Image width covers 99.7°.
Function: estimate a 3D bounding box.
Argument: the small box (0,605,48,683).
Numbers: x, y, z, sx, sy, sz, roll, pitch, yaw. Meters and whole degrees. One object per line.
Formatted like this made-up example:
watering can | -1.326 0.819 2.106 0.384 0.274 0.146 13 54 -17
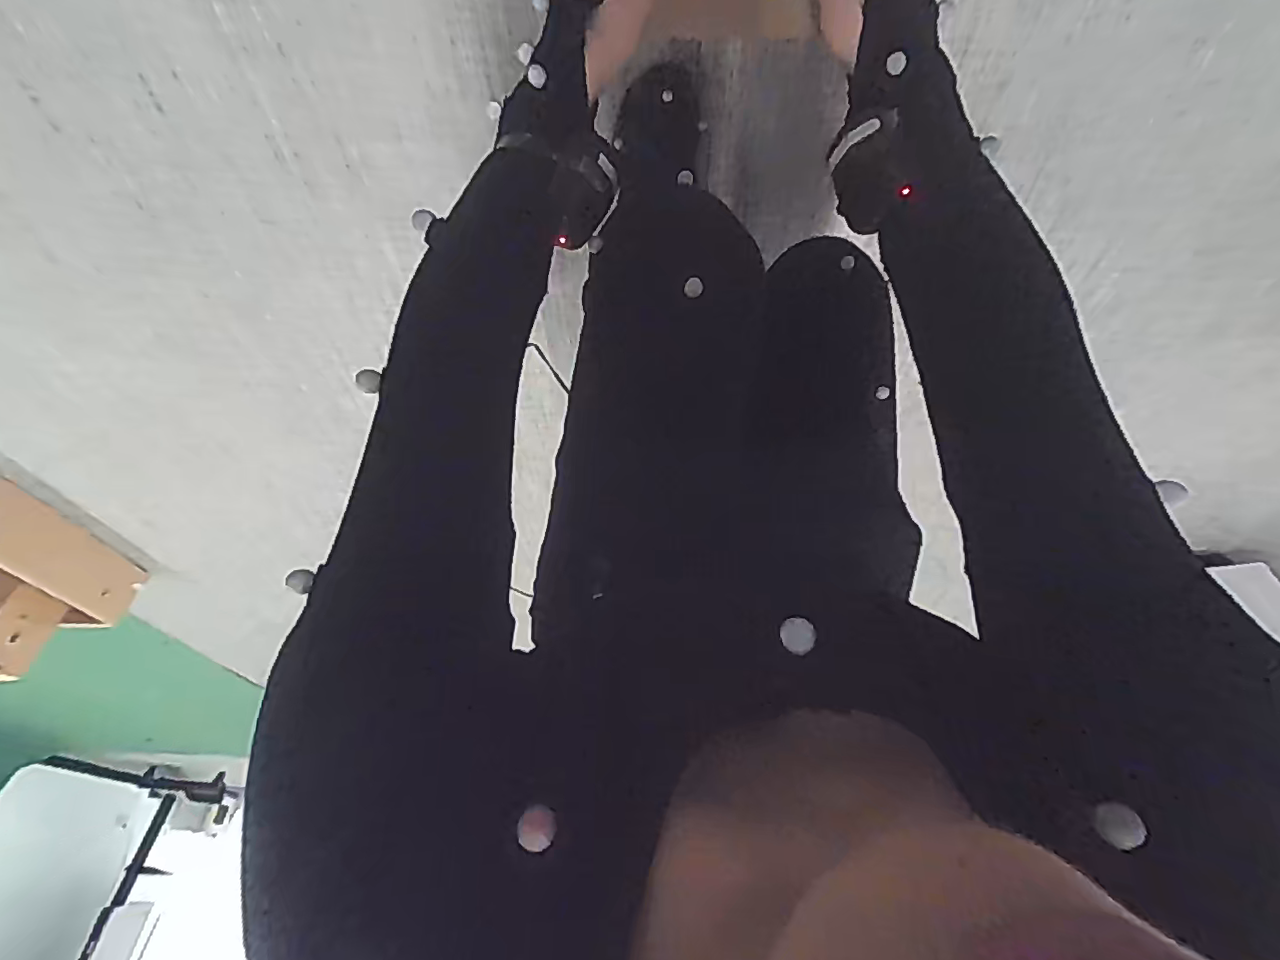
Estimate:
small box | -1.818 0.451 1.494 0.179 0.176 0.168 -2 141 3
